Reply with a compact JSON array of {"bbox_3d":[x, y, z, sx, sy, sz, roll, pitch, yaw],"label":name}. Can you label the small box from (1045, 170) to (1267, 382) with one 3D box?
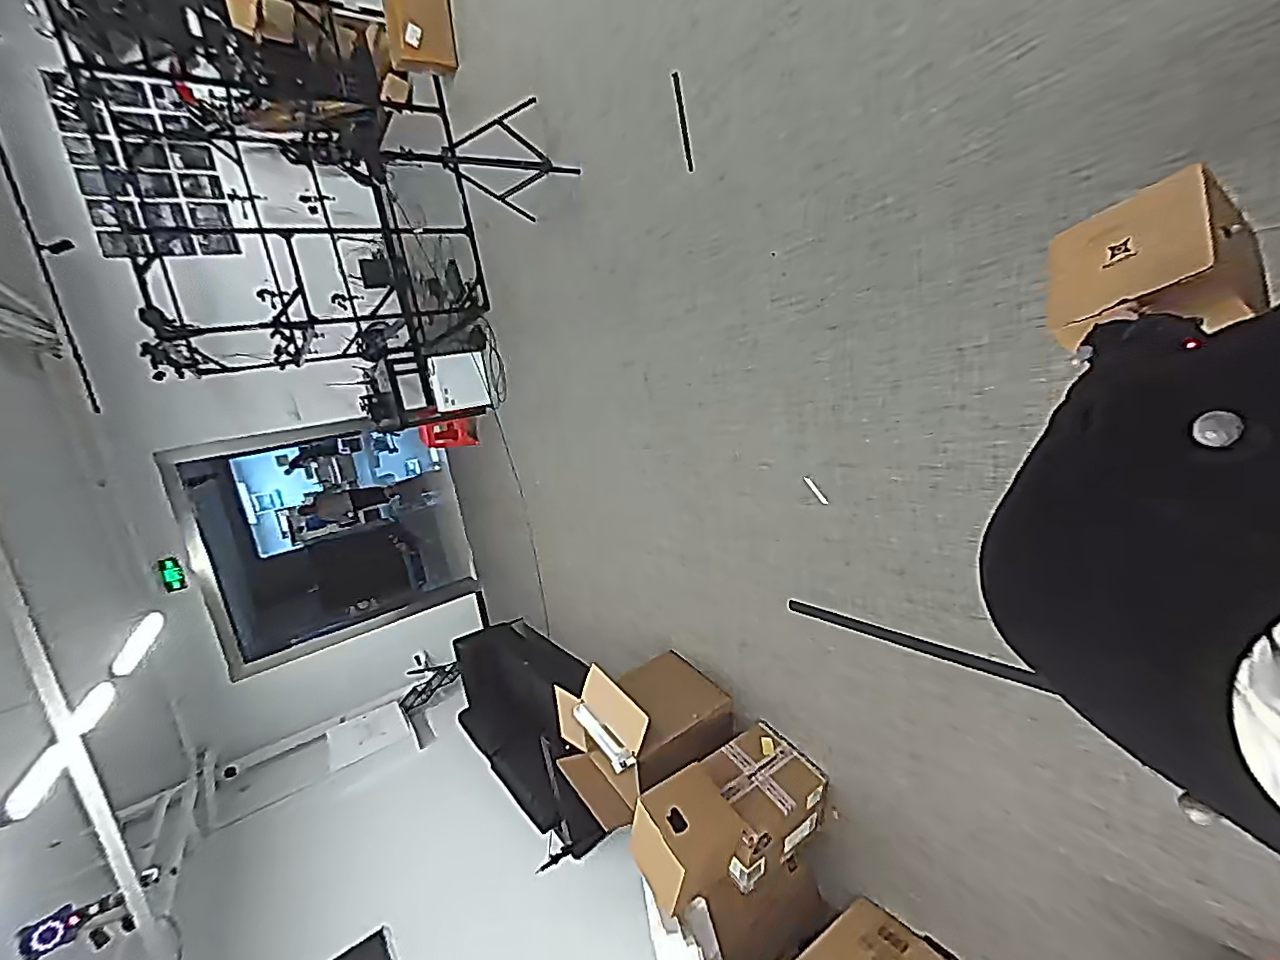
[{"bbox_3d":[0.678,-0.252,0.719,0.168,0.176,0.179,-22,45,59],"label":"small box"}]
